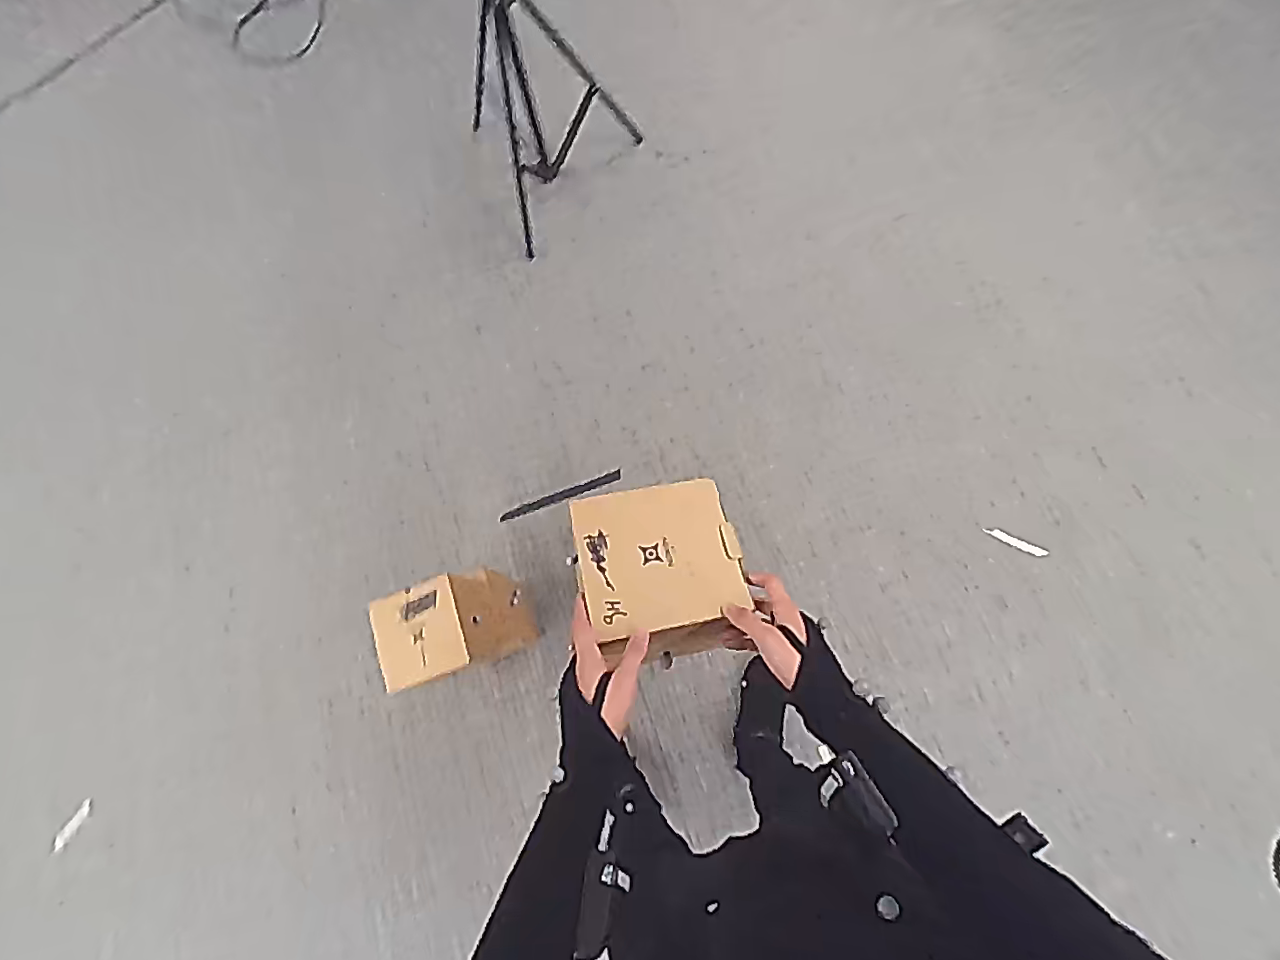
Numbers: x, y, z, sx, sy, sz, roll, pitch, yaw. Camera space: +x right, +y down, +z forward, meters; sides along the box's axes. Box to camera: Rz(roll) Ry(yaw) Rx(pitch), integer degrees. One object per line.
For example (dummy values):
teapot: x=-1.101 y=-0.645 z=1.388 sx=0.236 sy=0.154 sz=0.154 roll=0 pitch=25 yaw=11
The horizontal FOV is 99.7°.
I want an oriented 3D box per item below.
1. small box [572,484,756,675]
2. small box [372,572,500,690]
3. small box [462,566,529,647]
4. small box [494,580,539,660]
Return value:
small box: x=0.015 y=0.125 z=0.656 sx=0.179 sy=0.176 sz=0.168 roll=-9 pitch=61 yaw=-10
small box: x=-0.401 y=0.301 z=1.085 sx=0.168 sy=0.176 sz=0.179 roll=-20 pitch=75 yaw=0
small box: x=-0.382 y=0.316 z=1.250 sx=0.179 sy=0.176 sz=0.168 roll=-24 pitch=75 yaw=-2
small box: x=-0.381 y=0.366 z=1.406 sx=0.168 sy=0.176 sz=0.179 roll=-23 pitch=75 yaw=-2
